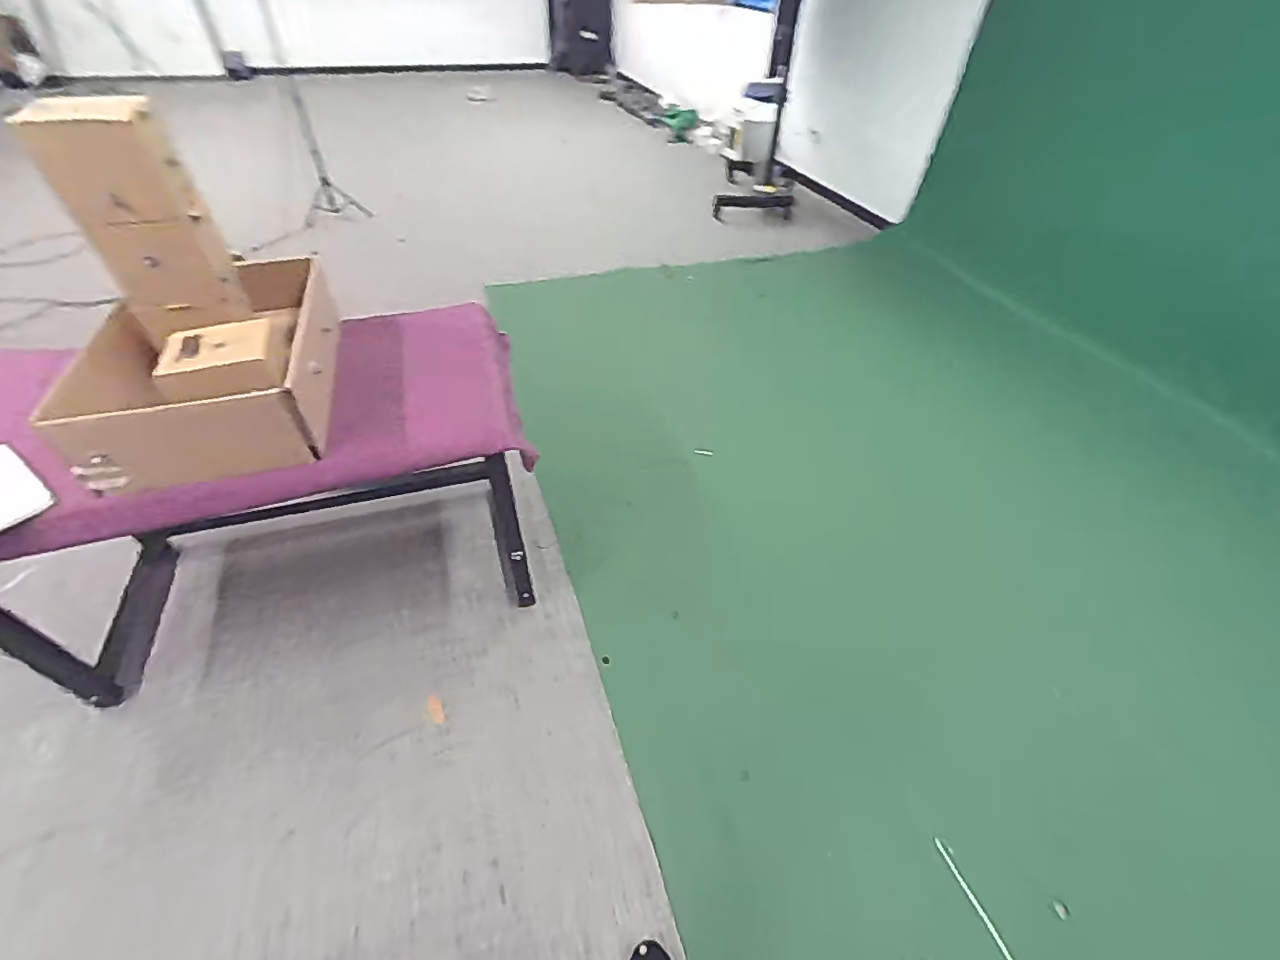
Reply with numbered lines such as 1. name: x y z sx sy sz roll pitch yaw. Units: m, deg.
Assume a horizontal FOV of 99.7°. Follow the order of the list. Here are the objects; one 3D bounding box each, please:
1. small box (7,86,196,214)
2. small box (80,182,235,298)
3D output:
1. small box: -0.985 -0.618 1.016 0.179 0.176 0.168 -11 48 -15
2. small box: -0.990 -0.502 1.132 0.179 0.176 0.168 -13 49 -16
